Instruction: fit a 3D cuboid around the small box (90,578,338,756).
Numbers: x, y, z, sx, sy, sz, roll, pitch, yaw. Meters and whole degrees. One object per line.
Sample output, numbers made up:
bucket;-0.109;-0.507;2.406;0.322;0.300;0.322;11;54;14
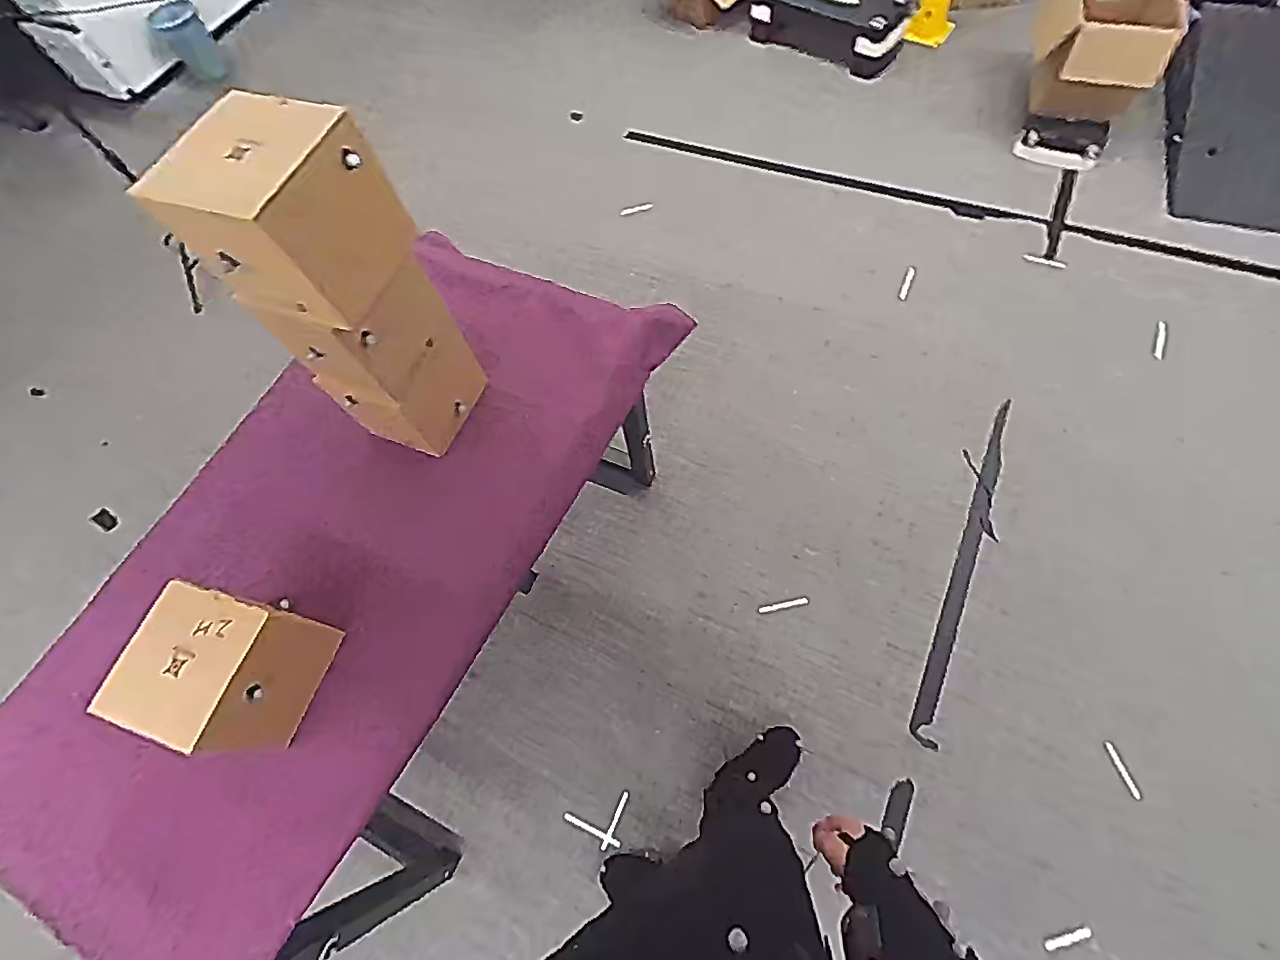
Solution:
small box;-0.563;0.259;0.746;0.168;0.176;0.179;14;67;12

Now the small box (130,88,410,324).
small box;-0.405;-0.310;0.629;0.168;0.176;0.179;16;68;13

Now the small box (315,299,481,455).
small box;-0.396;-0.172;0.927;0.168;0.176;0.179;19;68;14
